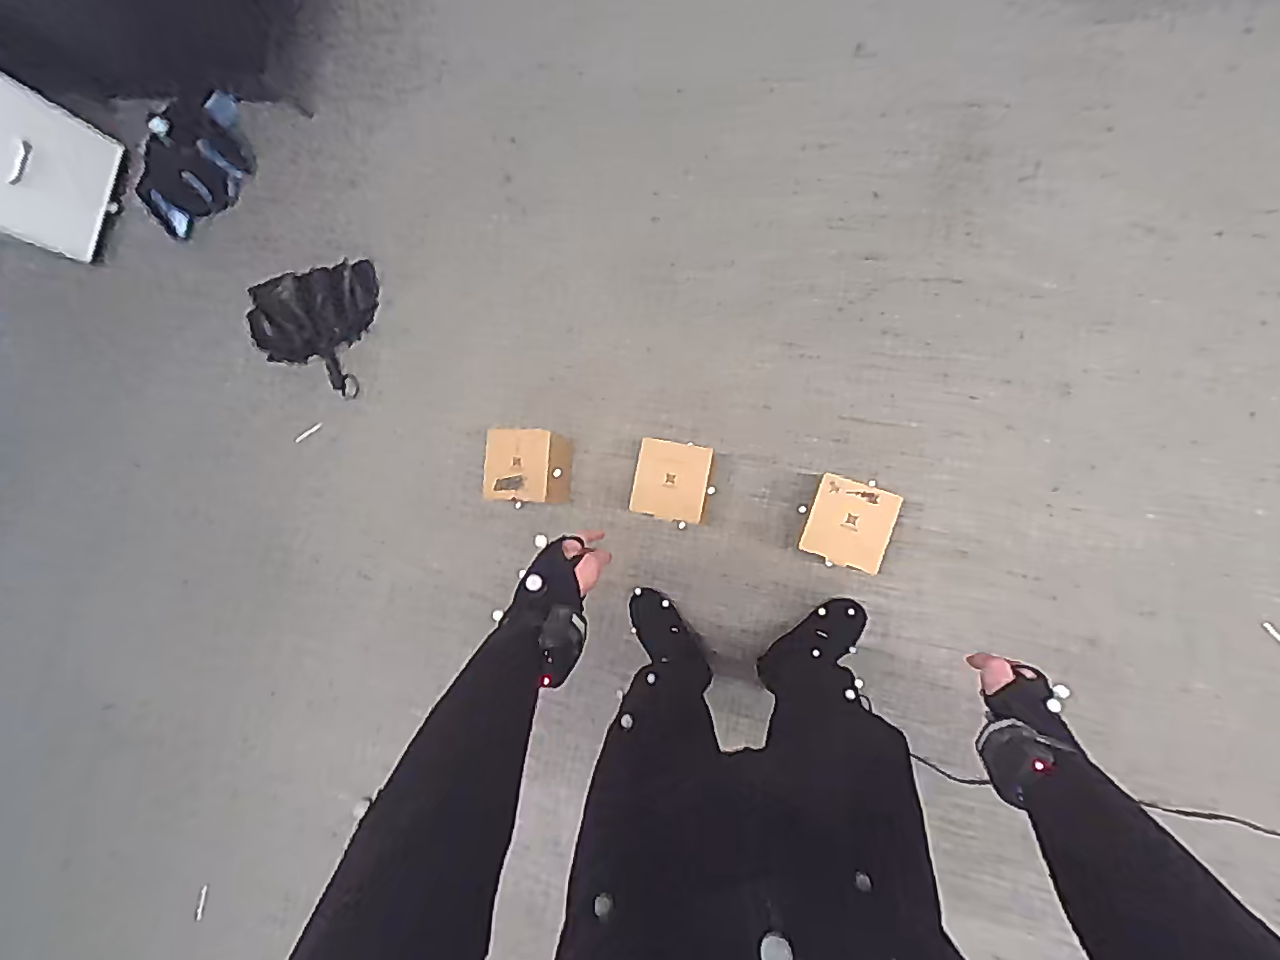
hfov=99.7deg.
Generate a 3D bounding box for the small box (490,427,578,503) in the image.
[{"bbox_3d":[-0.263,-0.034,1.375,0.168,0.176,0.179,3,86,13],"label":"small box"}]

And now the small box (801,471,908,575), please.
[{"bbox_3d":[0.466,0.093,1.201,0.168,0.176,0.179,20,92,14],"label":"small box"}]

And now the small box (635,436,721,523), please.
[{"bbox_3d":[0.097,0.004,1.293,0.168,0.176,0.179,10,88,12],"label":"small box"}]
